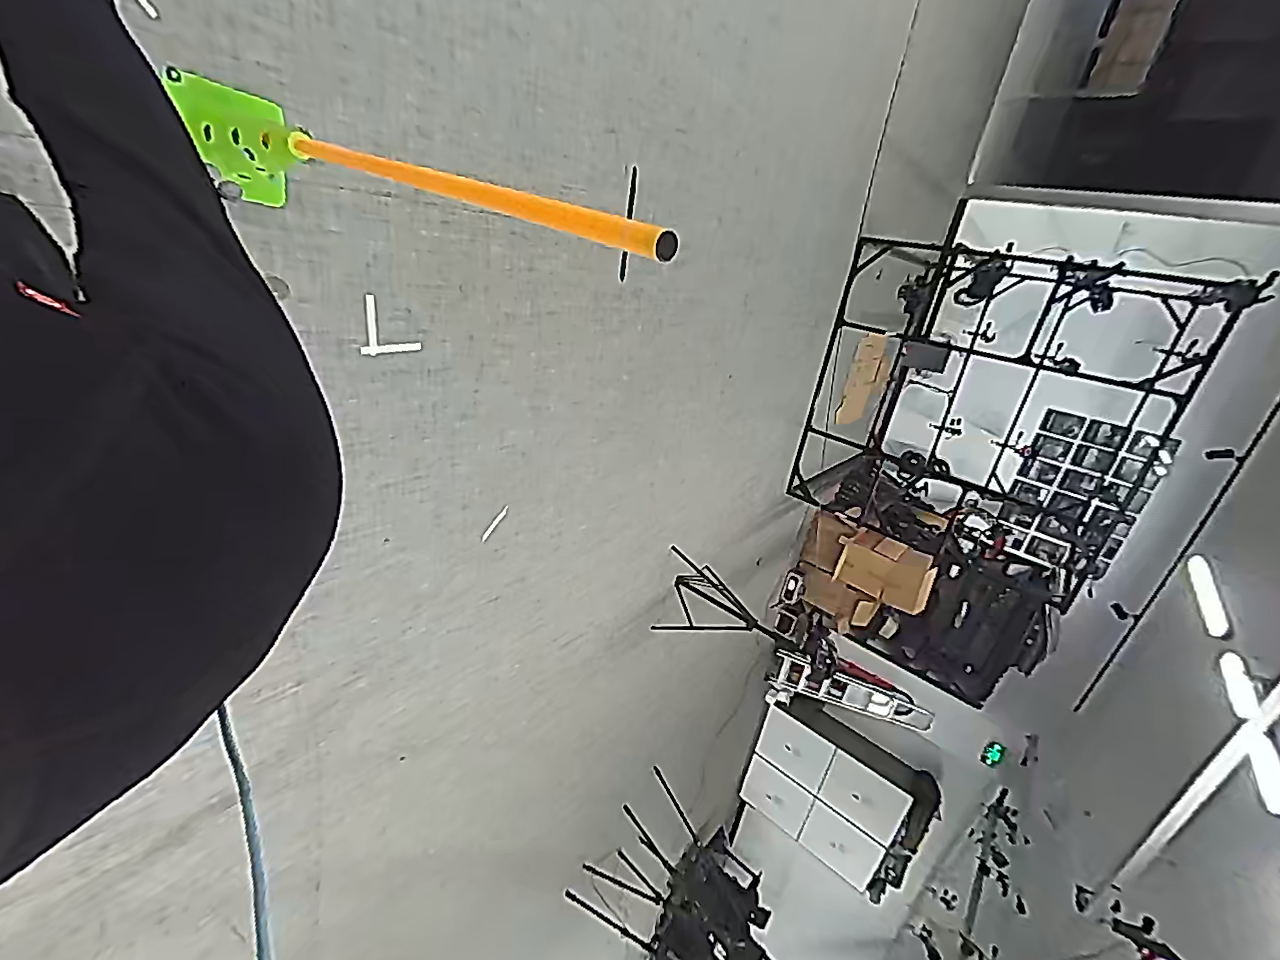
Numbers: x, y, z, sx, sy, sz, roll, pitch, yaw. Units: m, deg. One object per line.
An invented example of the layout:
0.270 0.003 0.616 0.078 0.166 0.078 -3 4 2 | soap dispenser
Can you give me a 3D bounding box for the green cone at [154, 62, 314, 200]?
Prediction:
-0.713 -0.632 1.003 0.202 0.368 0.200 -15 123 -52 | green cone
